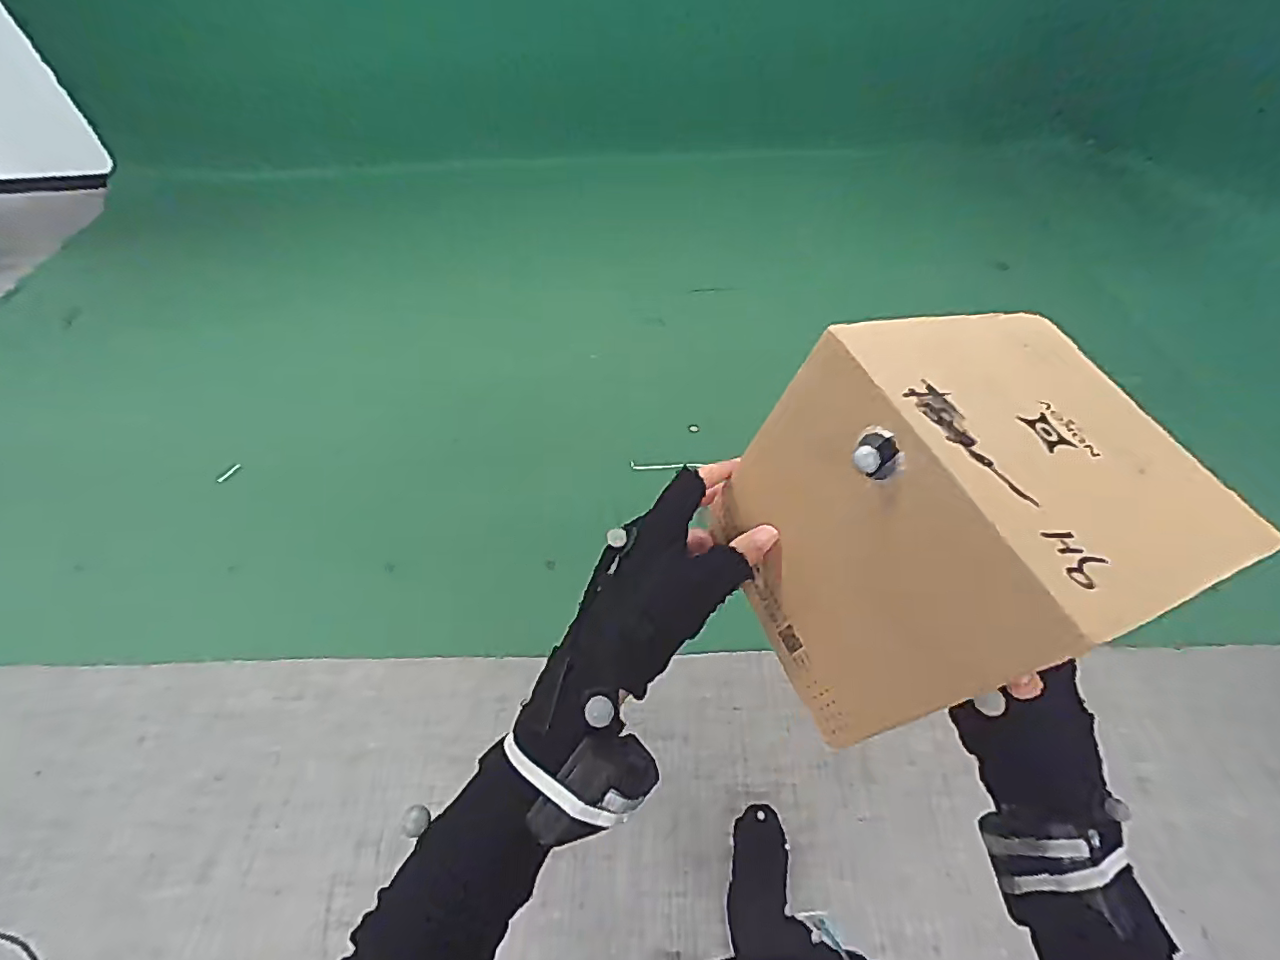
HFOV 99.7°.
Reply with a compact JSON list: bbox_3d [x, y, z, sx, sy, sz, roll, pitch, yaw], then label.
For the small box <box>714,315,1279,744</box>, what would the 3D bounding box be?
[{"bbox_3d":[0.174,0.027,0.314,0.179,0.176,0.168,-8,56,-27],"label":"small box"}]
